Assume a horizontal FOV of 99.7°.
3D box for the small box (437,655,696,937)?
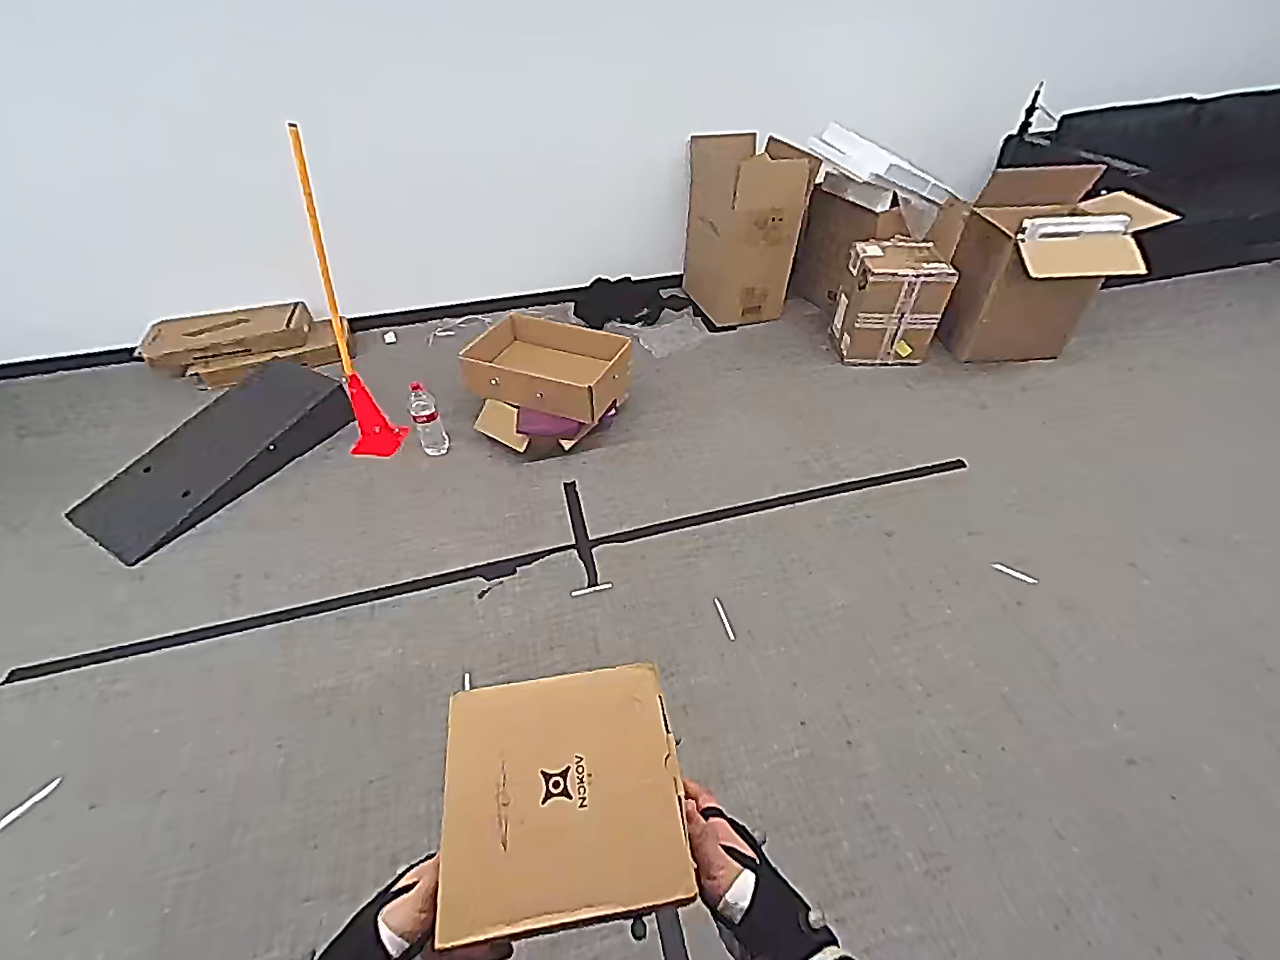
[{"bbox_3d":[-0.059,0.275,0.470,0.179,0.176,0.168,-8,49,-5],"label":"small box"}]
